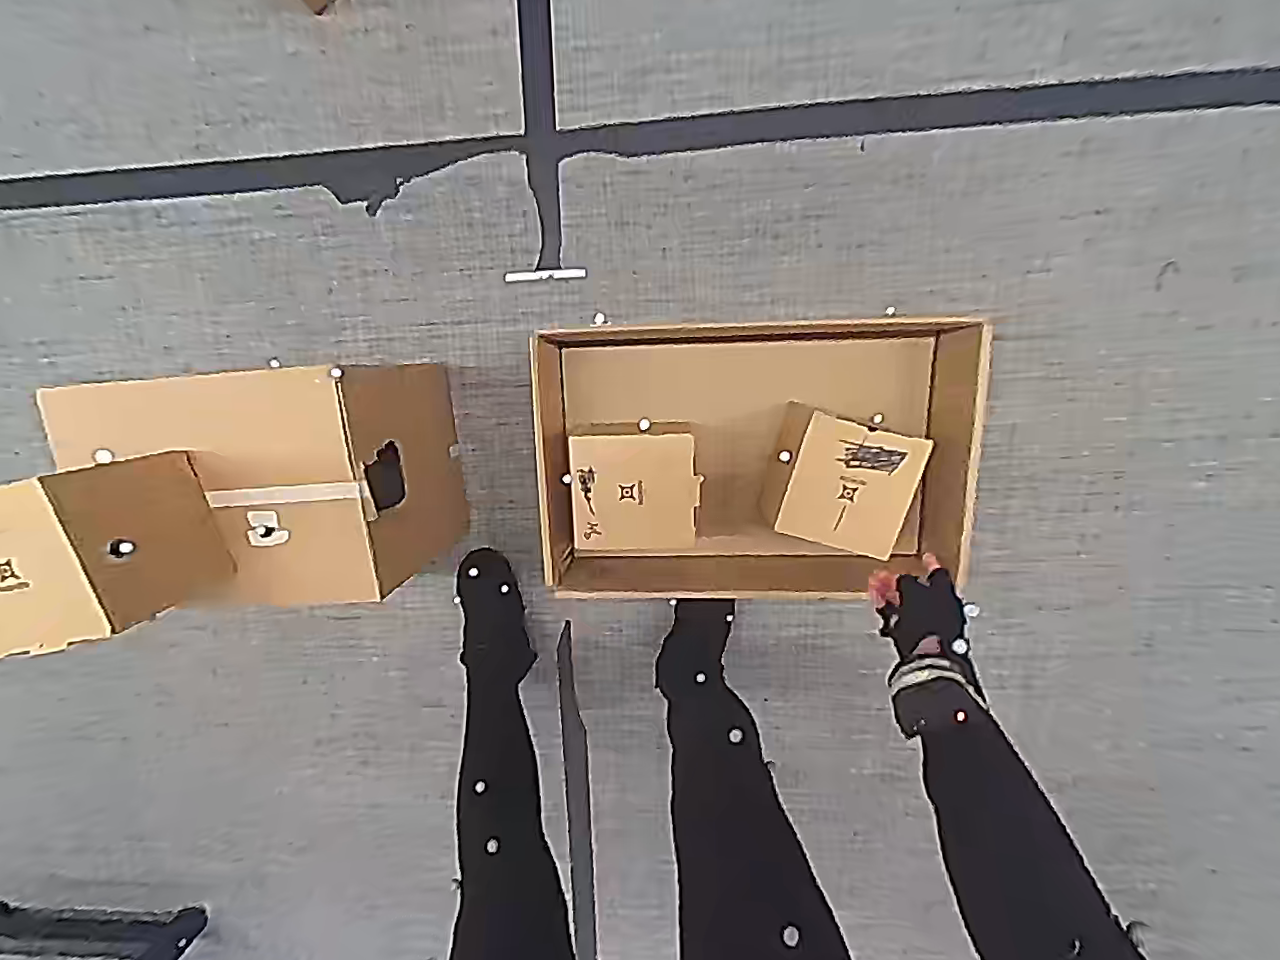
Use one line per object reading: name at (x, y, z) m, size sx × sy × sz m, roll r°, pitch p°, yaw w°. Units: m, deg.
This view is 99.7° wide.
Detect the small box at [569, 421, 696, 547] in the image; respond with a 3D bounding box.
small box at (-0.008, -0.002, 0.828) m, size 0.179 × 0.176 × 0.168 m, roll -1°, pitch 101°, yaw 2°

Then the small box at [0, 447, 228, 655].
small box at (-0.633, 0.073, 0.625) m, size 0.168 × 0.176 × 0.179 m, roll -12°, pitch 102°, yaw 5°

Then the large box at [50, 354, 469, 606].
large box at (-0.535, -0.020, 0.847) m, size 0.408 × 0.320 × 0.320 m, roll -4°, pitch 103°, yaw 4°

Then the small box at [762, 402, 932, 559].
small box at (0.290, -0.011, 0.806) m, size 0.168 × 0.176 × 0.179 m, roll 16°, pitch 104°, yaw 1°
